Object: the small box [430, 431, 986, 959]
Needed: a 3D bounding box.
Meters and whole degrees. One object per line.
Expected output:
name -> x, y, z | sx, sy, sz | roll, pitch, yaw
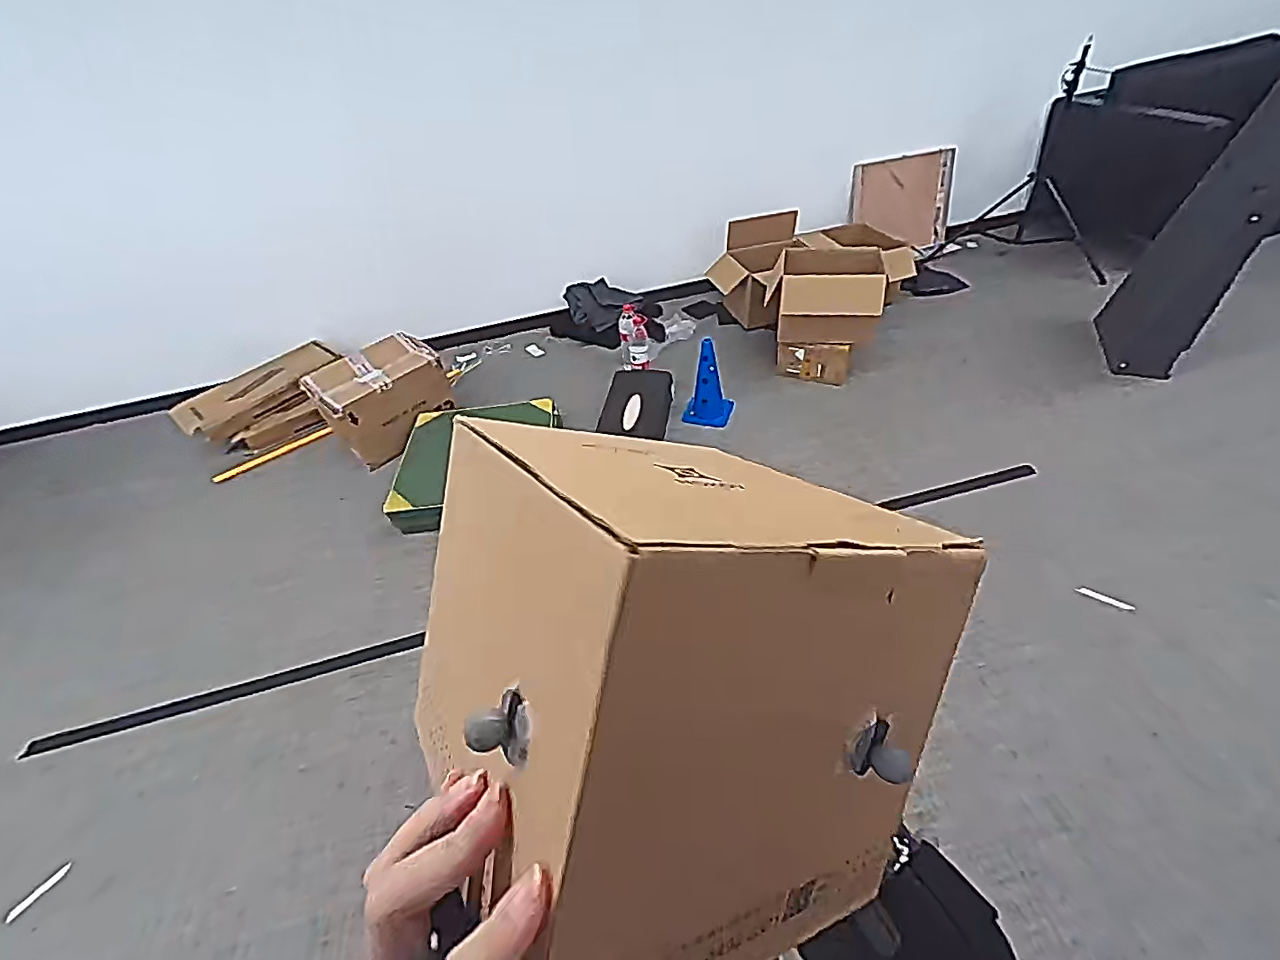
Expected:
small box -> 0.010, 0.084, 0.254 | 0.168, 0.176, 0.179 | 6, 12, -34
